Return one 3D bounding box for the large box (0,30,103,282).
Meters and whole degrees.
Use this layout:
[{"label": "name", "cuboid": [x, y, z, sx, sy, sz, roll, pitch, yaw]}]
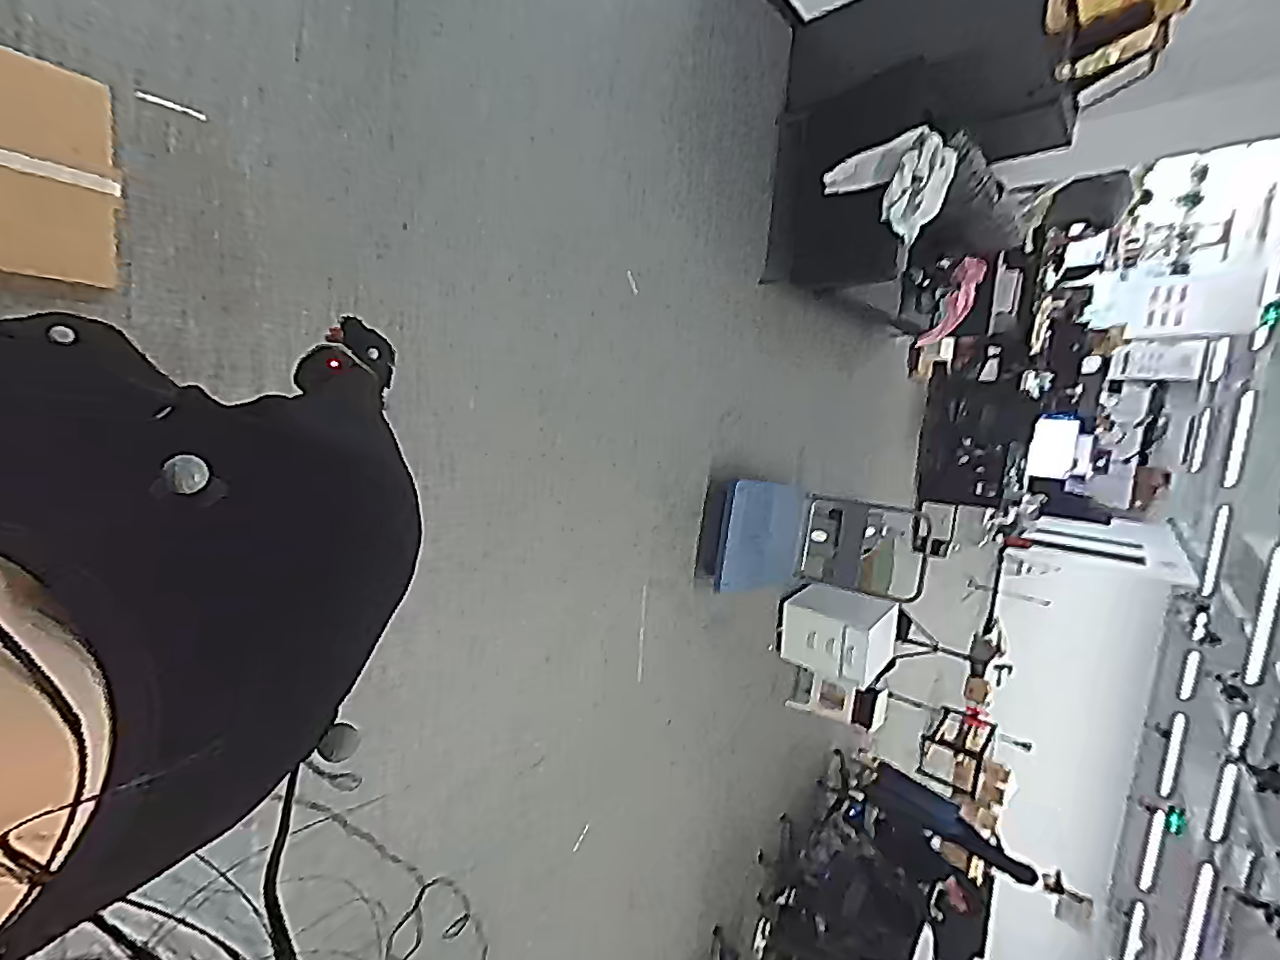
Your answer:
[{"label": "large box", "cuboid": [-1.093, -0.499, 0.798, 0.408, 0.320, 0.320, -3, 100, -48]}]
